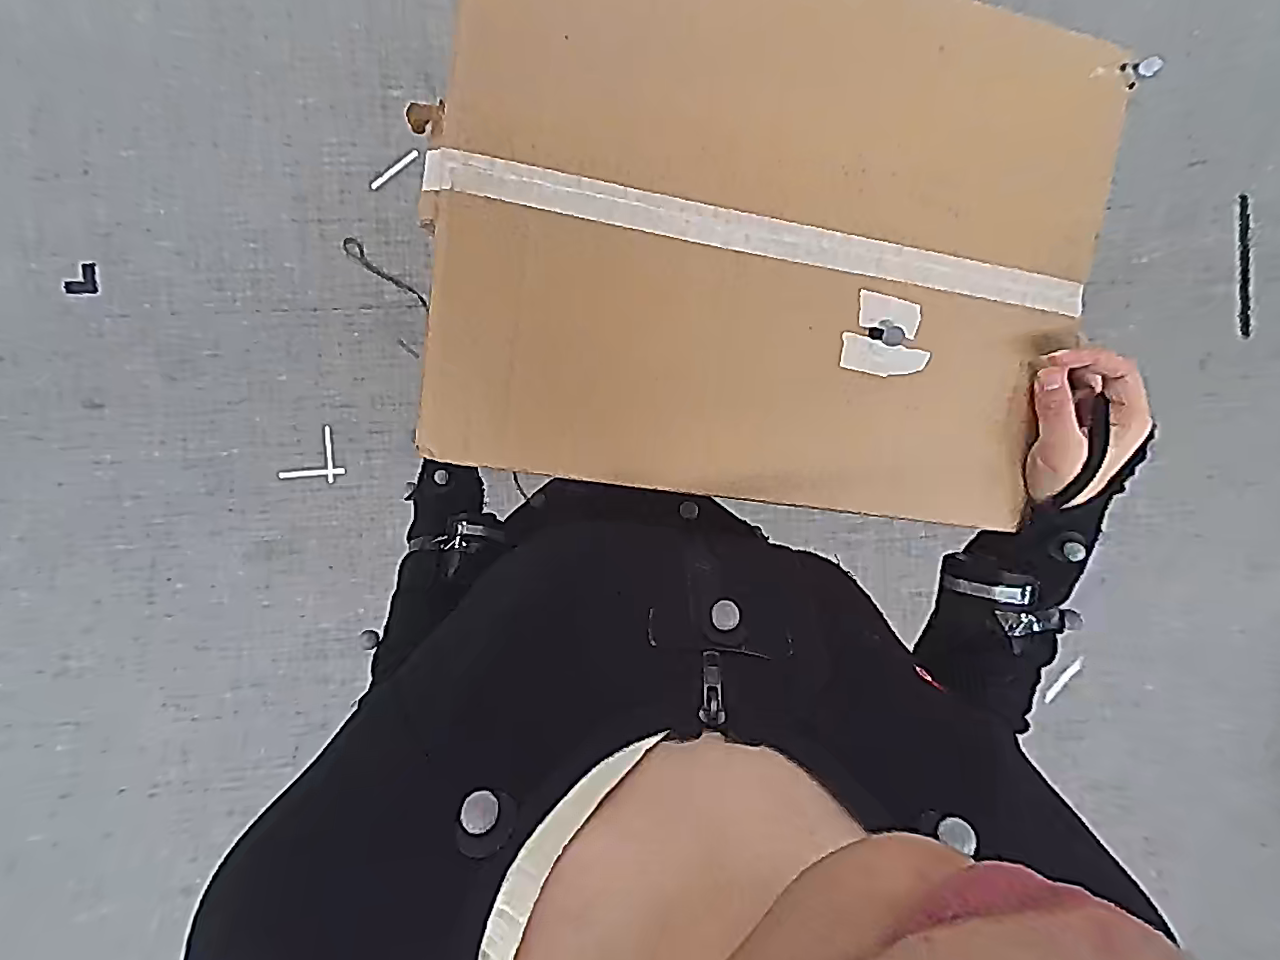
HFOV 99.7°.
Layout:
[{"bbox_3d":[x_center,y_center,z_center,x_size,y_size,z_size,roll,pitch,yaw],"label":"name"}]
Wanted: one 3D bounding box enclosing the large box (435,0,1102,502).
[{"bbox_3d":[0.064,-0.173,0.476,0.408,0.320,0.320,7,97,-11],"label":"large box"}]
